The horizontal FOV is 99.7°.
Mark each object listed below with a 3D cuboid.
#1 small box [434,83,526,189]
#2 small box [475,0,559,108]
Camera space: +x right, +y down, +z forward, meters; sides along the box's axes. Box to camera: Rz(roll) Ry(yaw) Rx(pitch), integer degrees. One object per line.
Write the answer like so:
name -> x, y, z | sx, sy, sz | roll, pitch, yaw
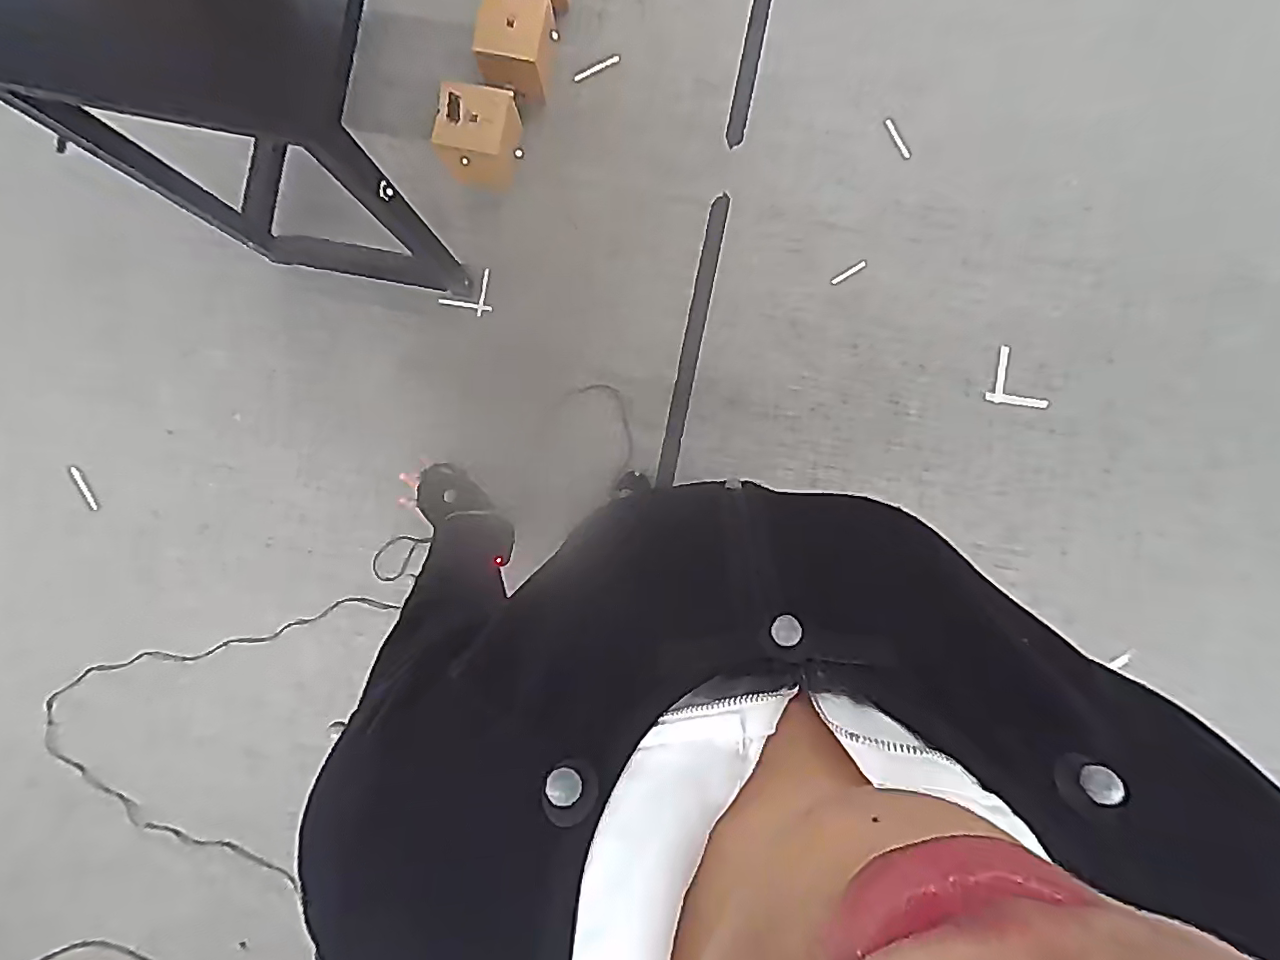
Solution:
small box -> -0.418, -0.903, 1.434 | 0.179, 0.176, 0.168 | 10, 91, 0
small box -> -0.318, -1.141, 1.435 | 0.168, 0.176, 0.179 | 10, 91, 2
